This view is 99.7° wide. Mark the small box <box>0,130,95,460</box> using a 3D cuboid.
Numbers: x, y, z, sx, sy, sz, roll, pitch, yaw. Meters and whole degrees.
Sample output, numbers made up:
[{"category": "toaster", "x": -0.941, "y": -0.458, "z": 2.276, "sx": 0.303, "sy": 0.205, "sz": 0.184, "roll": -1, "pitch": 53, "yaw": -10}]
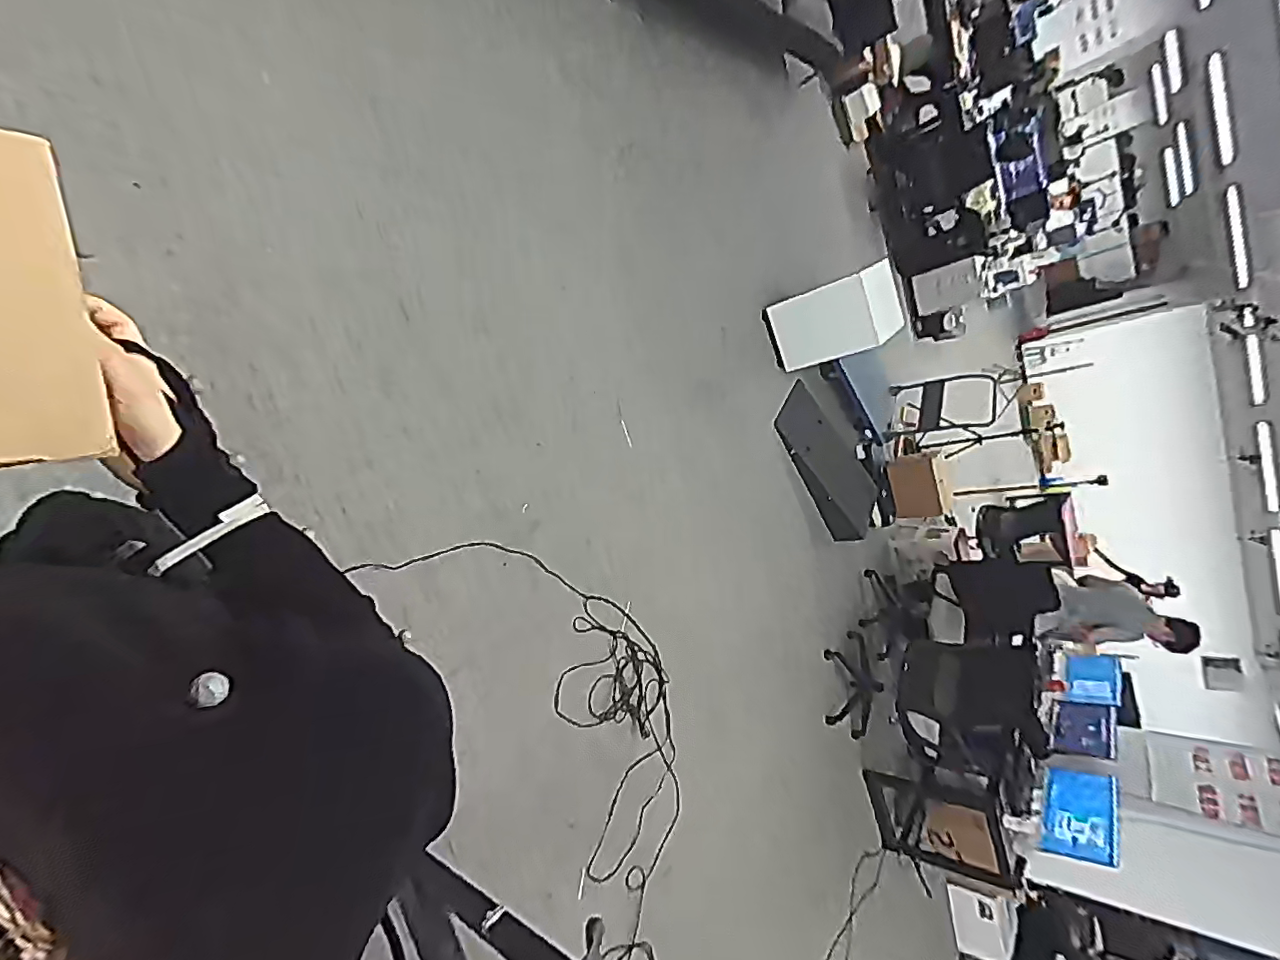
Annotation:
[{"category": "small box", "x": -0.438, "y": -0.094, "z": 0.290, "sx": 0.168, "sy": 0.176, "sz": 0.179, "roll": -14, "pitch": 105, "yaw": -53}]
